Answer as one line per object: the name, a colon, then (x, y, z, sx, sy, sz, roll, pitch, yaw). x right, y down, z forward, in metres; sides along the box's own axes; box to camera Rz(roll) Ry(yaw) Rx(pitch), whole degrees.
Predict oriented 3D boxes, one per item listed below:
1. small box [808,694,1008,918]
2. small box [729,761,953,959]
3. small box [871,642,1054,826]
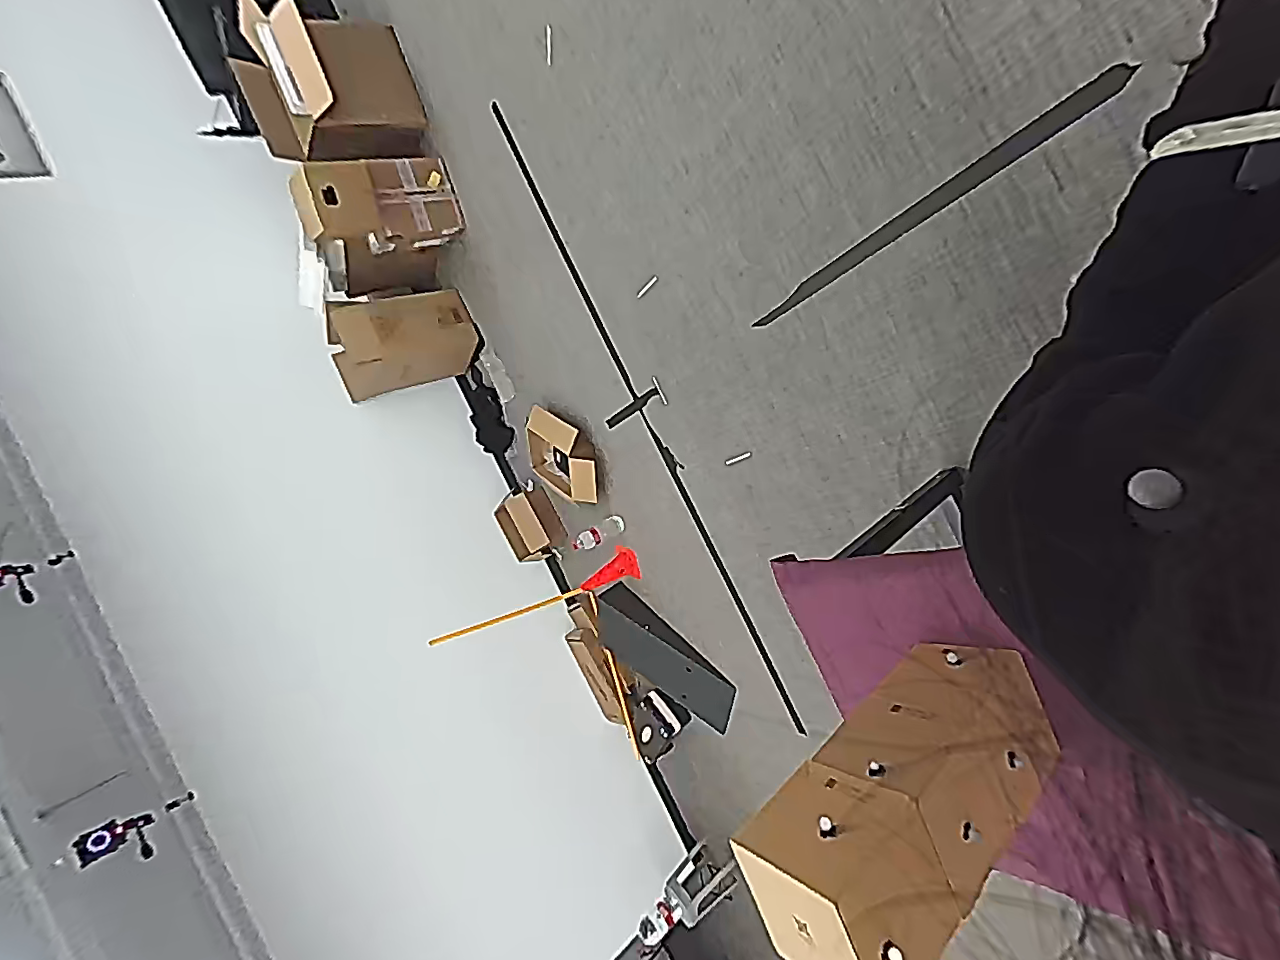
small box: (0.377, 0.436, 0.758, 0.168, 0.176, 0.179, -16, 100, 57)
small box: (0.249, 0.491, 0.672, 0.168, 0.176, 0.179, -16, 99, 57)
small box: (0.504, 0.380, 0.845, 0.168, 0.176, 0.179, -20, 95, 57)
